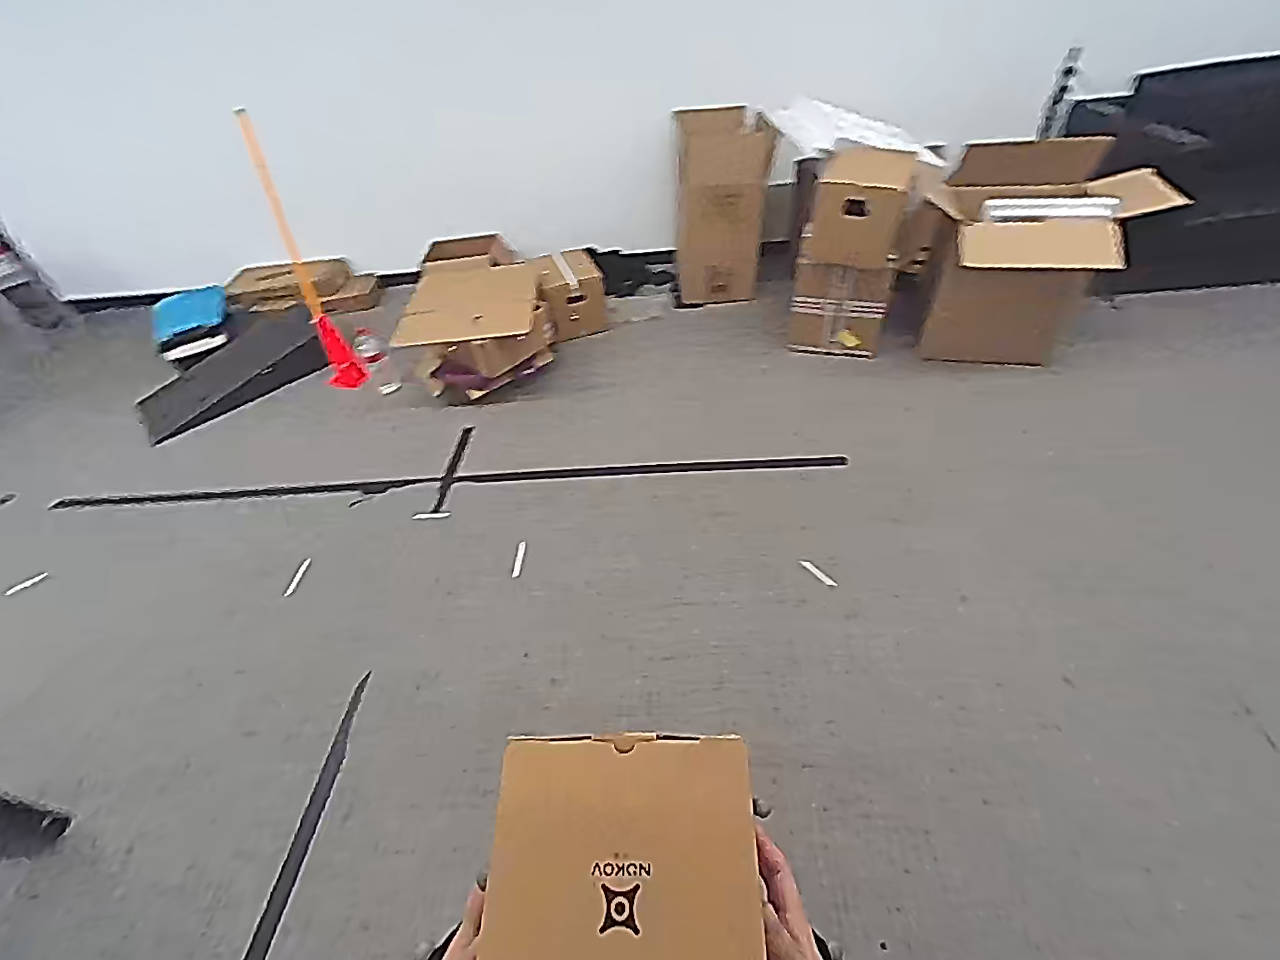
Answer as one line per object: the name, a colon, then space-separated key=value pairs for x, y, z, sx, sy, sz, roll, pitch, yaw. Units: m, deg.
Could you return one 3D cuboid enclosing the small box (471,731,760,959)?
small box: x=-0.008 y=0.289 z=0.383 sx=0.168 sy=0.176 sz=0.179 roll=-3 pitch=54 yaw=3
